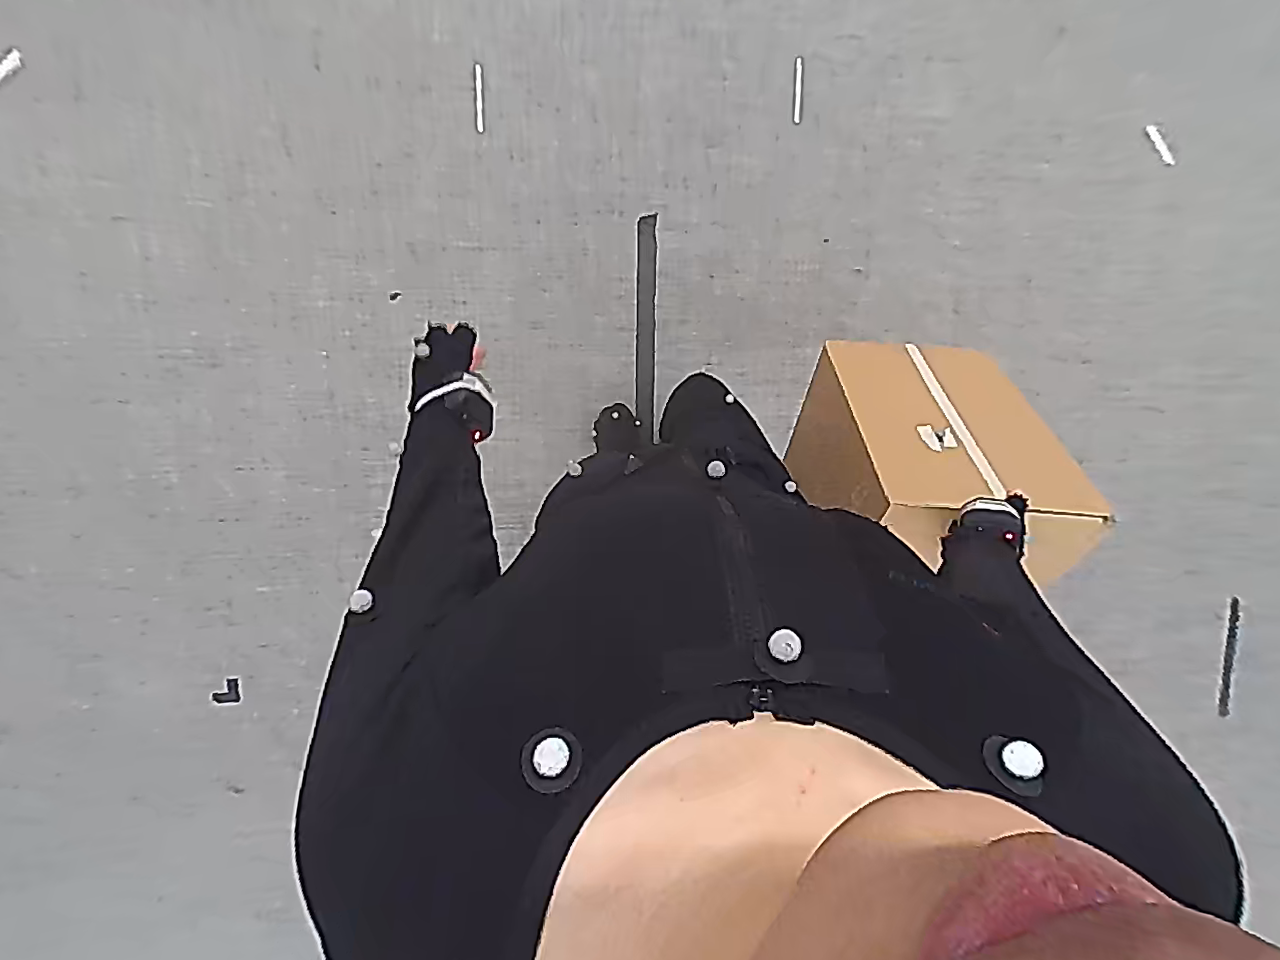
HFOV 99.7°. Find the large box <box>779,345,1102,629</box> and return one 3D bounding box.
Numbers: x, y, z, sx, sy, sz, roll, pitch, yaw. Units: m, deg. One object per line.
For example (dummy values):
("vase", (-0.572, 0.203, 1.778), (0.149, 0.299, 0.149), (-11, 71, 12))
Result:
("large box", (0.472, 0.008, 0.977), (0.320, 0.408, 0.320), (4, 136, -3))
